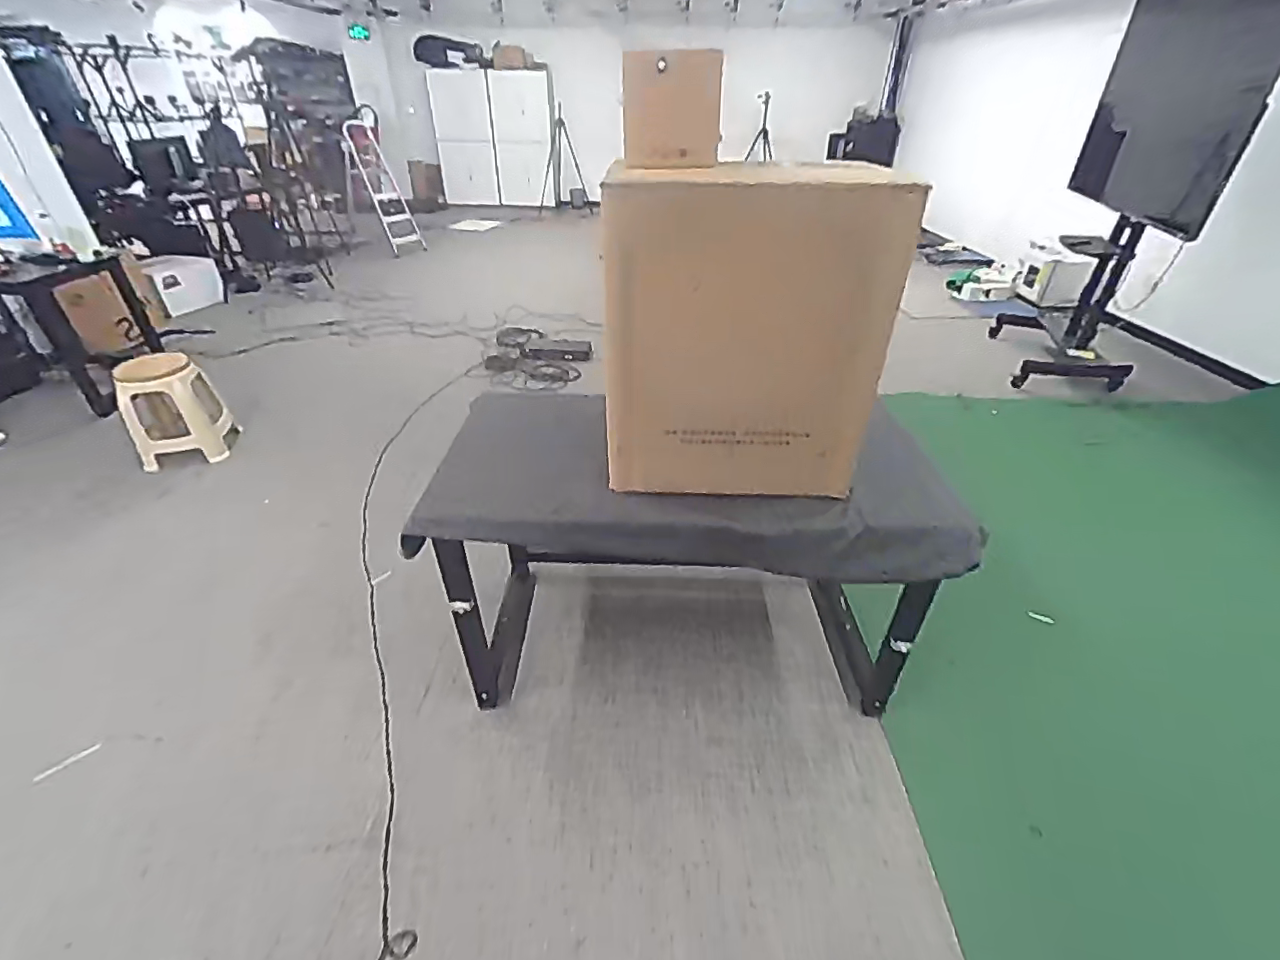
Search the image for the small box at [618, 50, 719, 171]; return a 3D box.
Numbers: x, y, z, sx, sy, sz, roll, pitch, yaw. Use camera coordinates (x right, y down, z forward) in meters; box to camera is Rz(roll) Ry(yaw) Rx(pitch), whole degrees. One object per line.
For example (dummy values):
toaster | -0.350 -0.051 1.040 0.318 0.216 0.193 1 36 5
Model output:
small box | 0.048 -0.663 0.977 0.168 0.176 0.179 -1 35 2
